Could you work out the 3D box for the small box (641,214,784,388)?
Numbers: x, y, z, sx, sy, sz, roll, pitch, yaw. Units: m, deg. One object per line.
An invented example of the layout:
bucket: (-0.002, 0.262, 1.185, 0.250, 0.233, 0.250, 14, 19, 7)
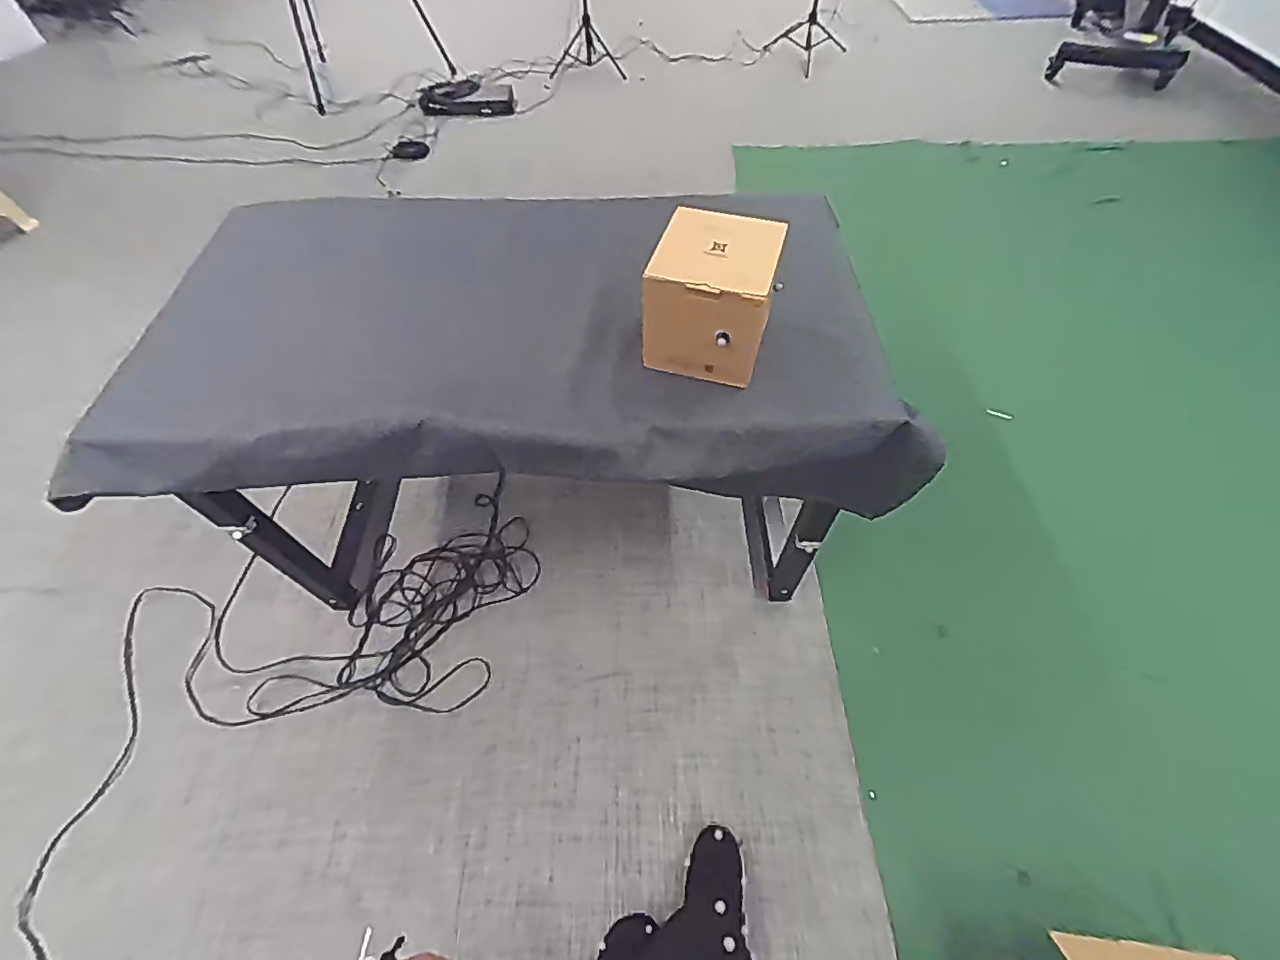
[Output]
small box: (0.106, -0.263, 0.809, 0.168, 0.176, 0.179, 14, 56, 10)
